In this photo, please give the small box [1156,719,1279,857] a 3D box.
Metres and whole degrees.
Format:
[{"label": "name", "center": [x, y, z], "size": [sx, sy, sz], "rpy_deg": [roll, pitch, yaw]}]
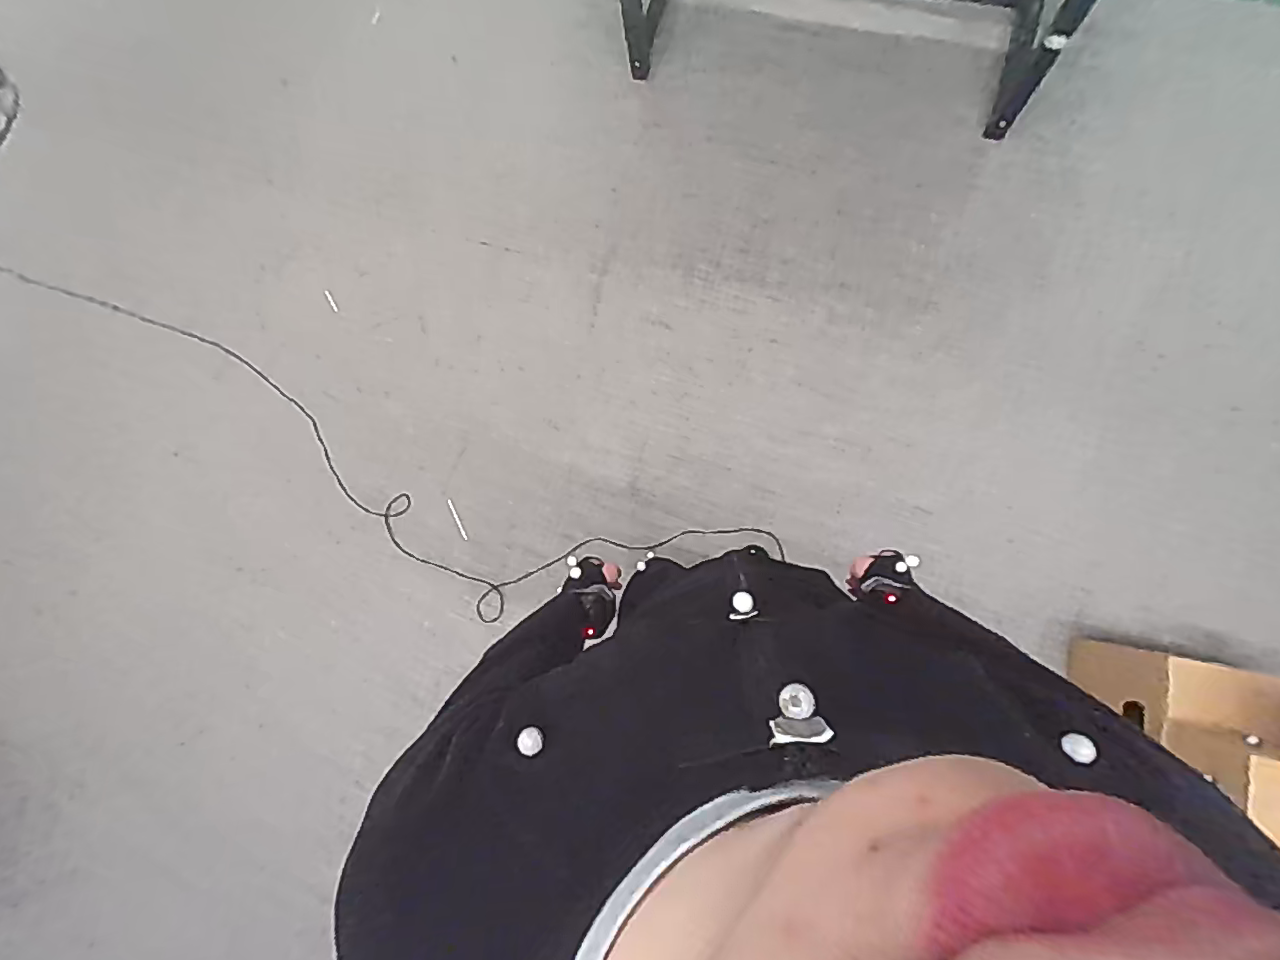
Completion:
[{"label": "small box", "center": [1.111, 0.564, 0.997], "size": [0.168, 0.176, 0.179], "rpy_deg": [9, 84, 8]}]
